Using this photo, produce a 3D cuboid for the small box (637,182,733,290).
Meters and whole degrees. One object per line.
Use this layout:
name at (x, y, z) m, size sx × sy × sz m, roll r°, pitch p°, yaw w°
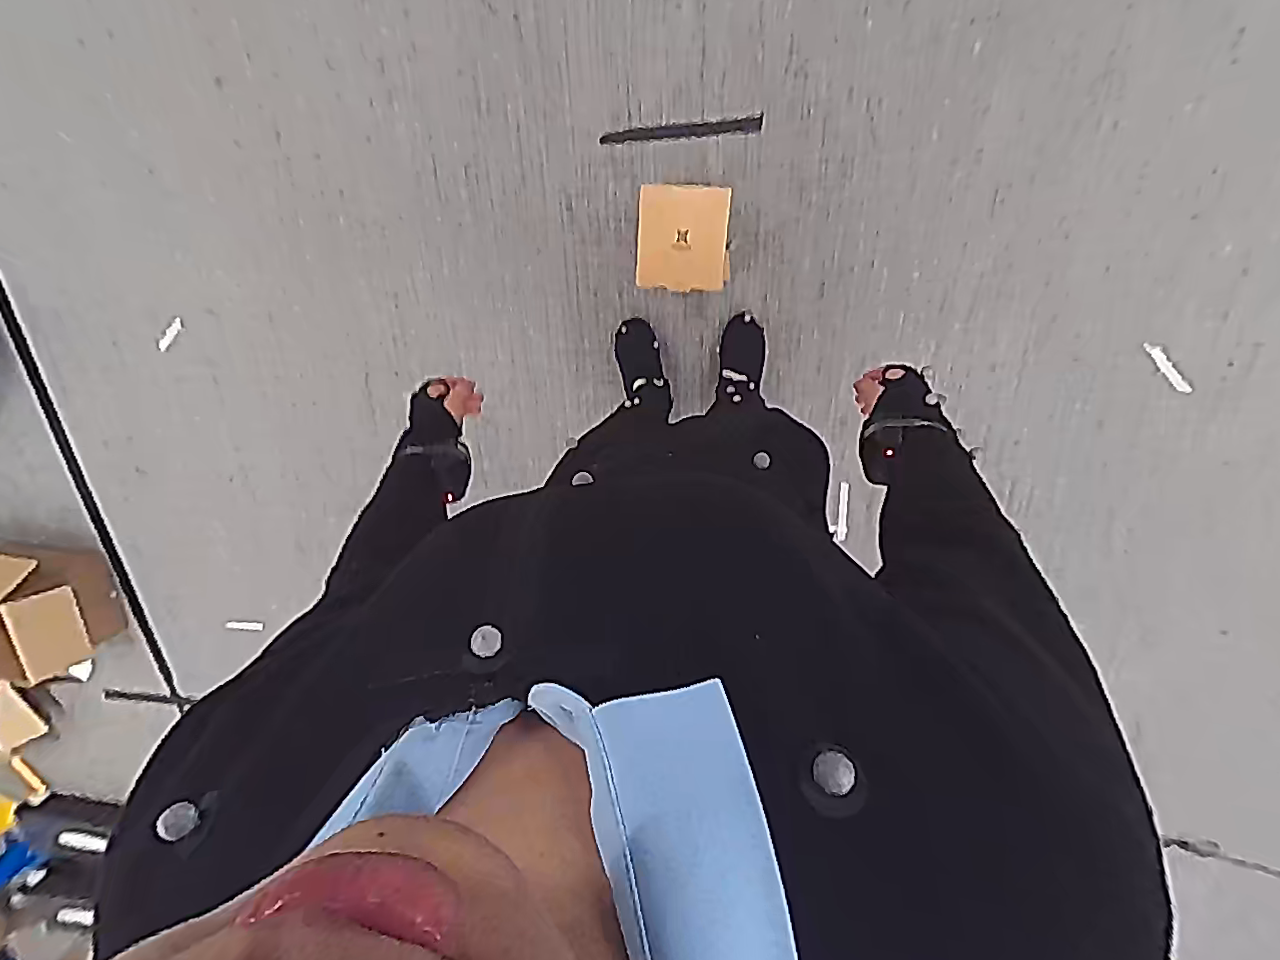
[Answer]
small box at (0.089, -0.474, 1.062) m, size 0.168 × 0.176 × 0.179 m, roll 5°, pitch 113°, yaw 6°
